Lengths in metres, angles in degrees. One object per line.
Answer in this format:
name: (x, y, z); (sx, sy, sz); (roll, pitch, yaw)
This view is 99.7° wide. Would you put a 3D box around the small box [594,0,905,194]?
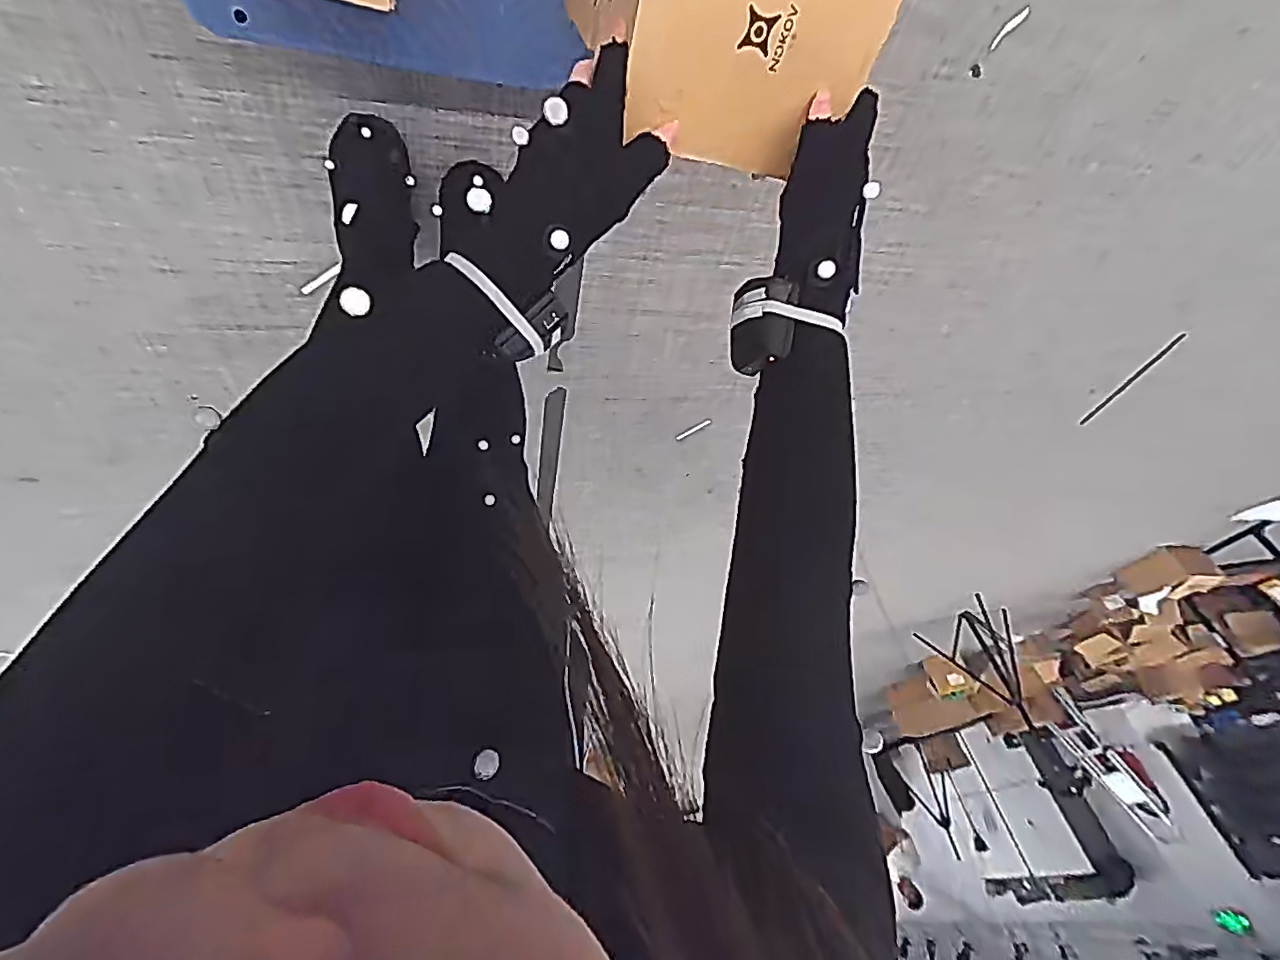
small box: (0.068, -0.352, 0.411); (0.179, 0.176, 0.168); (1, 141, -17)
